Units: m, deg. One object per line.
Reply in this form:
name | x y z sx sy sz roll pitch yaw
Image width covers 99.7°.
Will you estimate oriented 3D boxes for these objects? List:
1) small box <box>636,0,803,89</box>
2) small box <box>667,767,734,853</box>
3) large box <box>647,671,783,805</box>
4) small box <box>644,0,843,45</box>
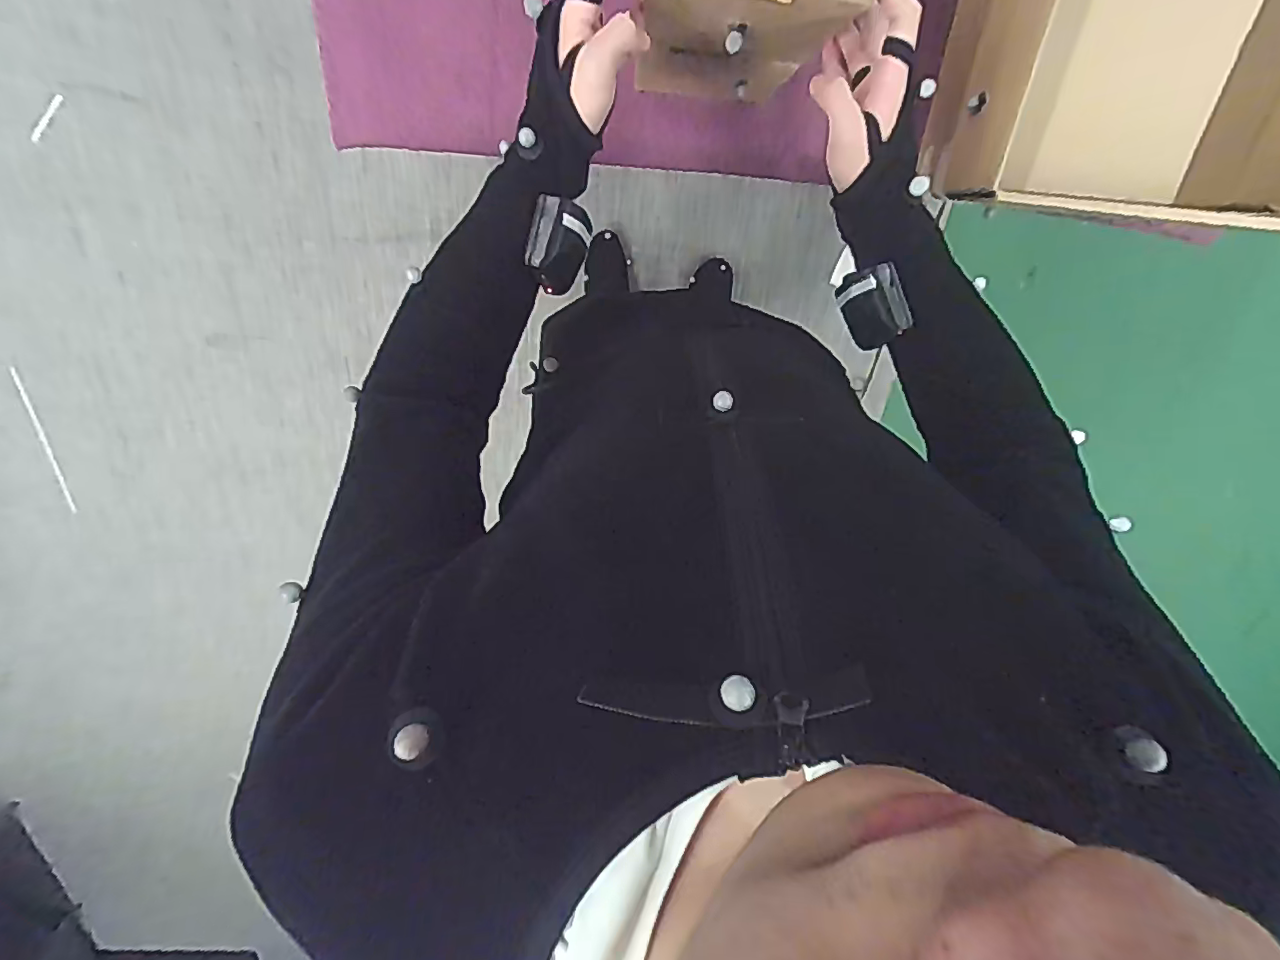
small box | 0.084 -0.534 0.563 0.168 0.176 0.179 4 115 -4
small box | 0.202 1.127 1.853 0.179 0.176 0.168 -26 113 11
large box | 0.274 1.013 2.075 0.408 0.320 0.320 -26 115 10
small box | 0.092 -0.467 0.414 0.168 0.176 0.179 4 116 -5
